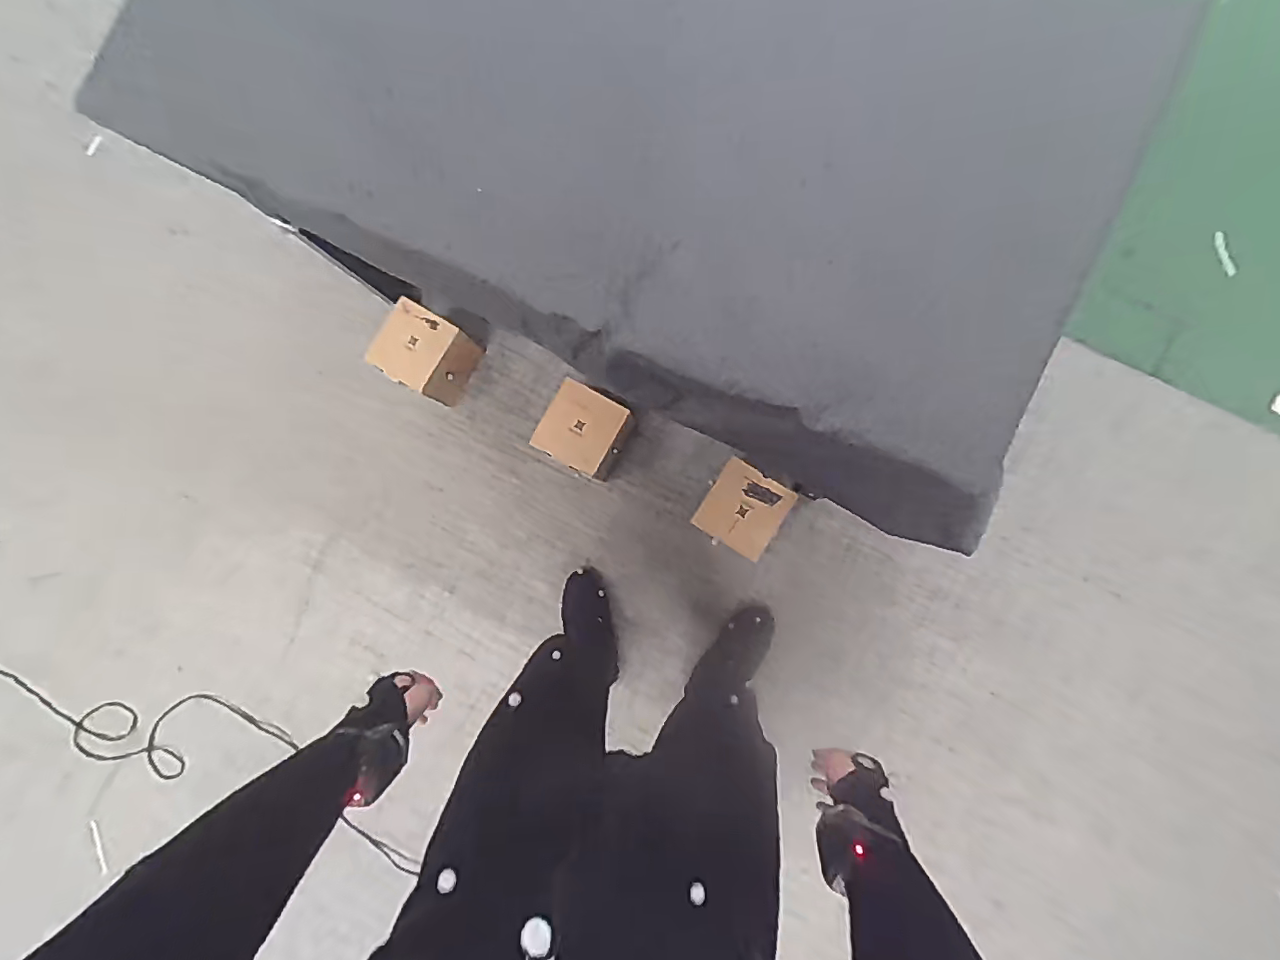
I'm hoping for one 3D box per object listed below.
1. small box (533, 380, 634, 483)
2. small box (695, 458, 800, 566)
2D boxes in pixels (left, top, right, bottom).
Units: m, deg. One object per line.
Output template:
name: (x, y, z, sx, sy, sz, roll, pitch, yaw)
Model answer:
small box: (-0.123, -0.105, 1.282, 0.168, 0.176, 0.179, 29, 87, 6)
small box: (0.235, 0.072, 1.231, 0.168, 0.176, 0.179, 32, 90, 7)
